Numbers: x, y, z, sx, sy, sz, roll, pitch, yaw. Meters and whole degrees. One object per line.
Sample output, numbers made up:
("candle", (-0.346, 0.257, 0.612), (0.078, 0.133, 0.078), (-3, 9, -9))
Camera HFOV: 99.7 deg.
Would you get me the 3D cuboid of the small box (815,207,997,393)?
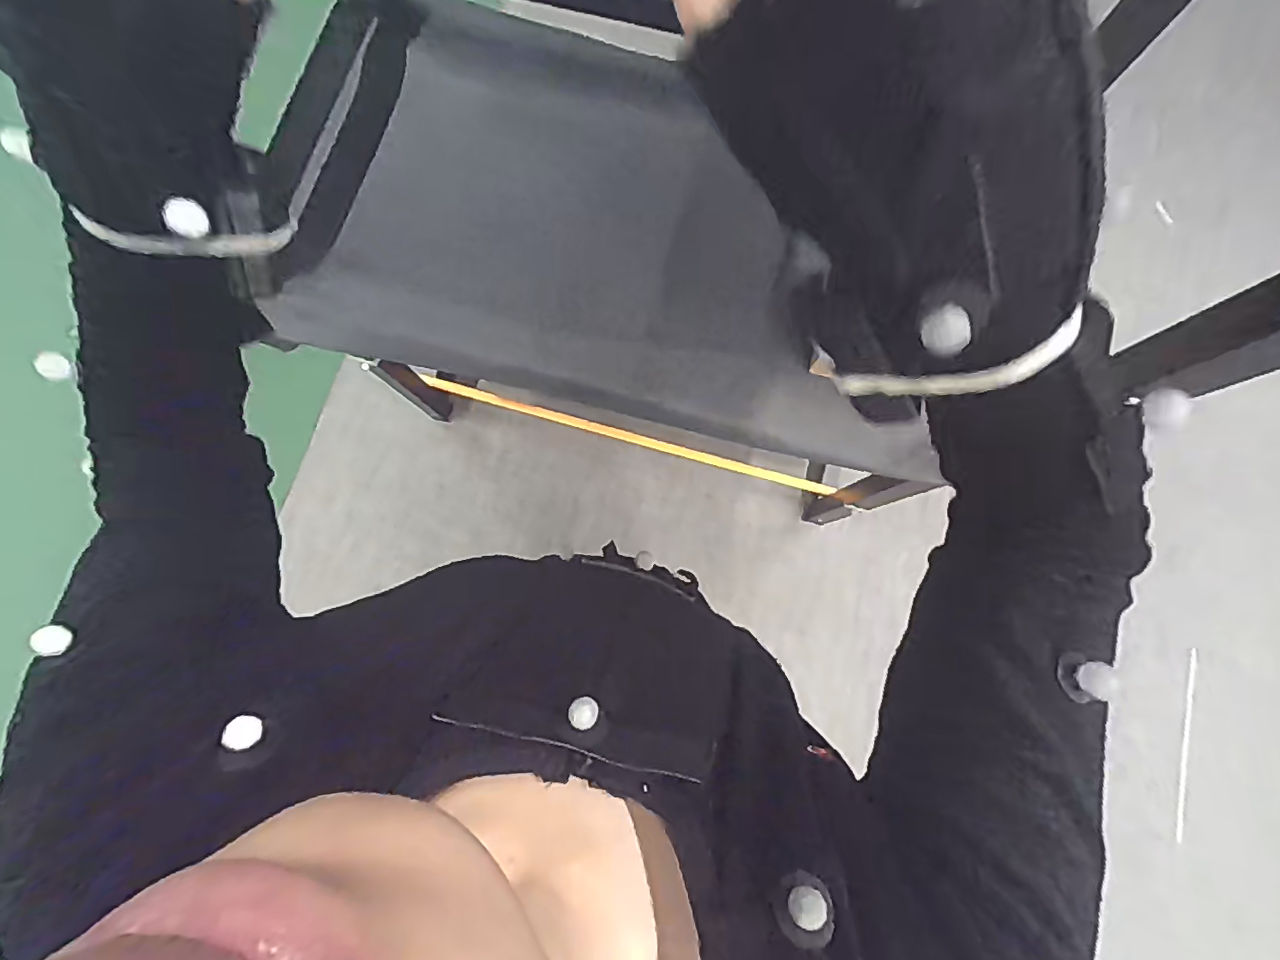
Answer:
("small box", (0.364, -0.243, 0.770), (0.168, 0.176, 0.179), (15, 78, 3))
